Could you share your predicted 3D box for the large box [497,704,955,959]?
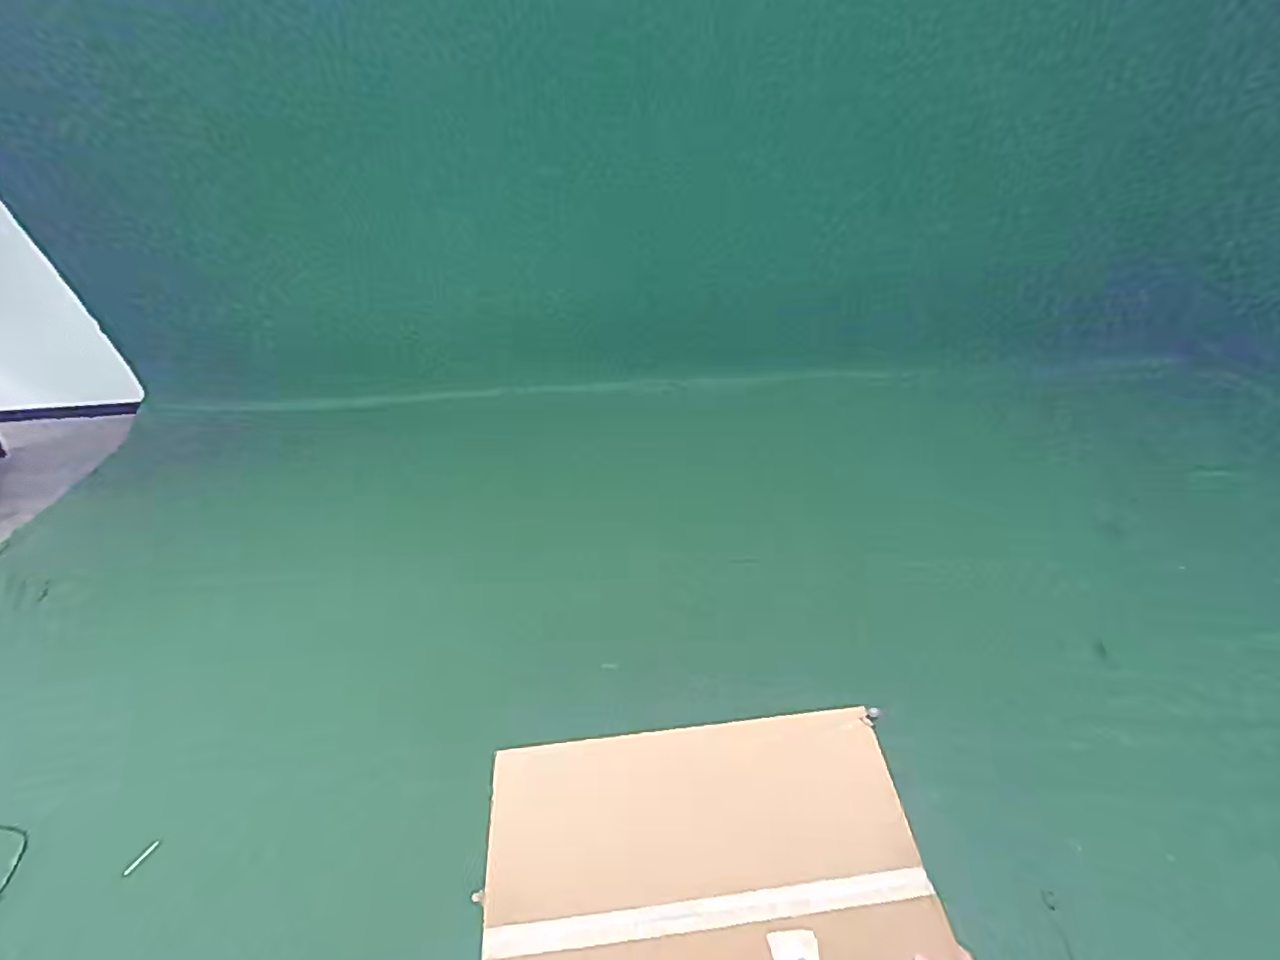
[{"bbox_3d":[0.070,0.487,0.606,0.408,0.320,0.320,-6,50,-4],"label":"large box"}]
